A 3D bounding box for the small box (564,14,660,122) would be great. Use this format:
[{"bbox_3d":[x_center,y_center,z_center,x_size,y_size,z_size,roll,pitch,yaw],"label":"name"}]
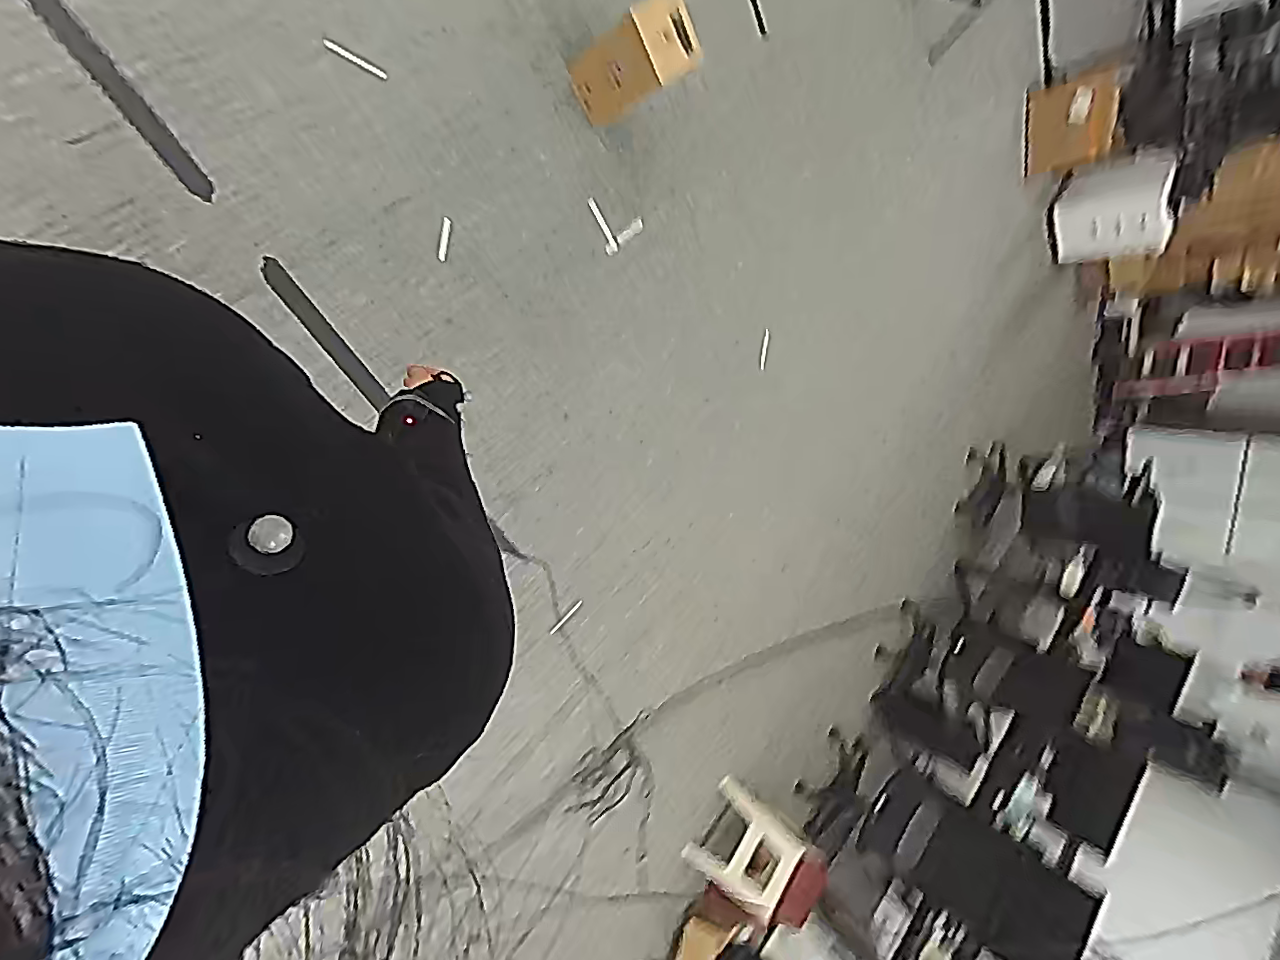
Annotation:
[{"bbox_3d":[-0.082,-1.157,1.528,0.179,0.176,0.168,-47,125,-20],"label":"small box"}]
